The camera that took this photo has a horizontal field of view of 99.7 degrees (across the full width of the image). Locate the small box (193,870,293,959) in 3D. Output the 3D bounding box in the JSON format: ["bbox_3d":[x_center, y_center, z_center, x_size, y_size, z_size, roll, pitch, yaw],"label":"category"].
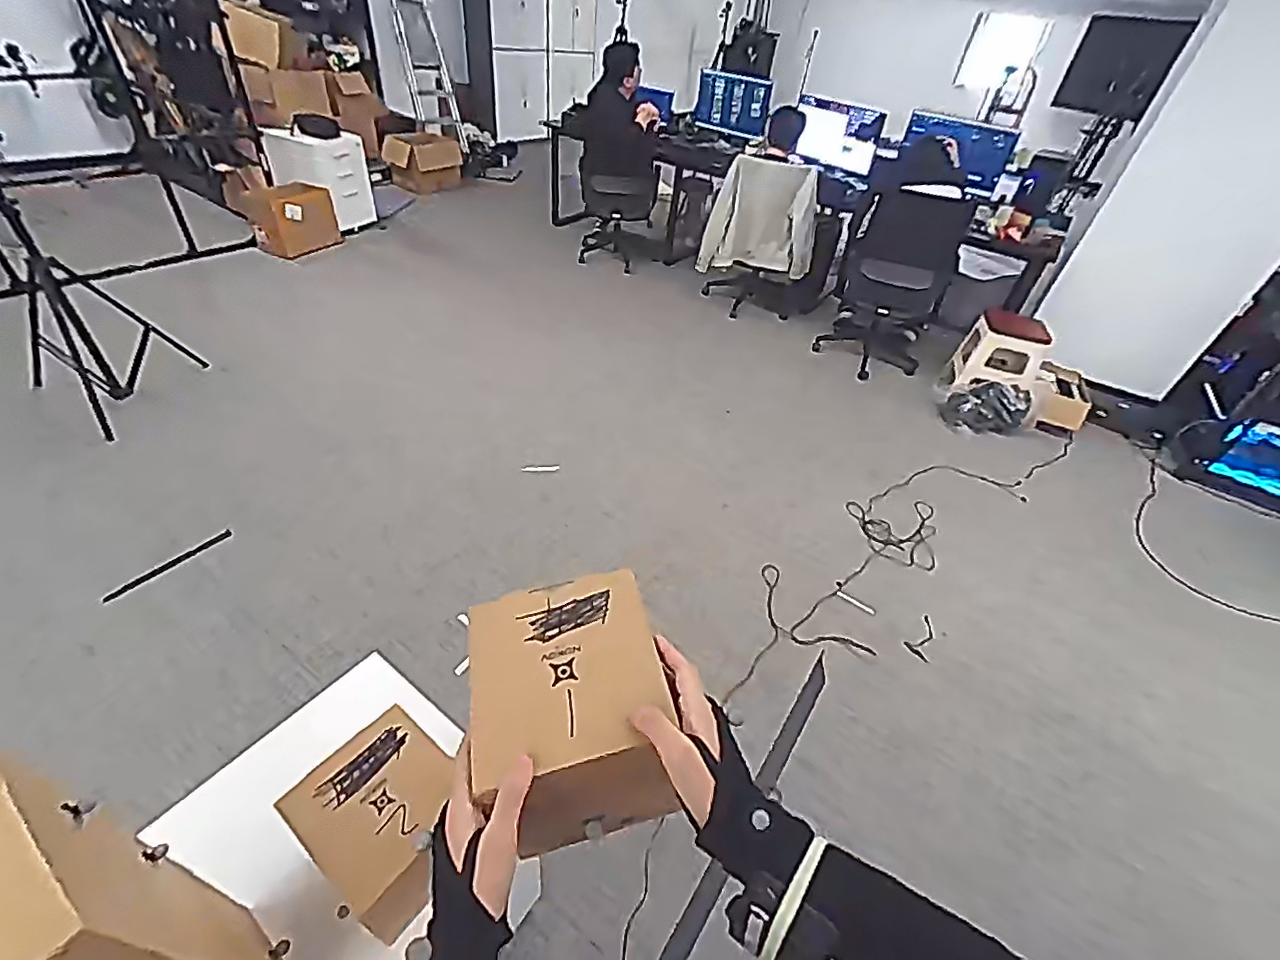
[{"bbox_3d":[-0.462,0.555,0.546,0.179,0.176,0.168,28,46,24],"label":"small box"}]

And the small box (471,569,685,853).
[{"bbox_3d":[-0.059,0.219,0.523,0.168,0.176,0.179,-13,42,-8],"label":"small box"}]

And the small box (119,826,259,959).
[{"bbox_3d":[-0.444,0.434,0.440,0.179,0.176,0.168,28,45,22],"label":"small box"}]
